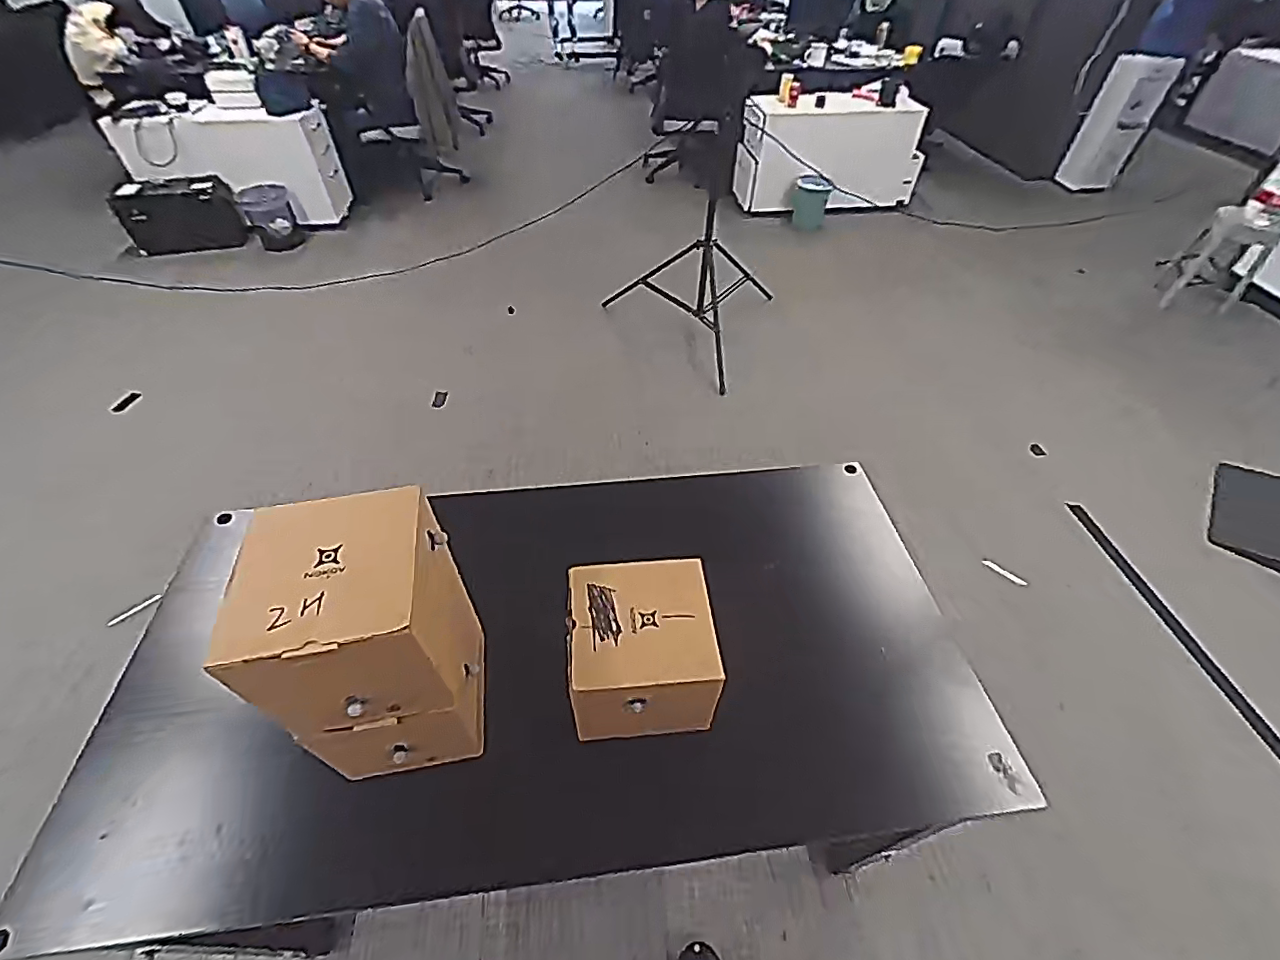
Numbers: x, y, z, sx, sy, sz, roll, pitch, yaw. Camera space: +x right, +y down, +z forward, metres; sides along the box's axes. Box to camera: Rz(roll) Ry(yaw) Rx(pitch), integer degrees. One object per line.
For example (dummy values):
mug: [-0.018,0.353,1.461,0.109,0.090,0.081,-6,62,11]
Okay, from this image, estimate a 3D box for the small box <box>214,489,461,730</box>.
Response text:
small box: [-0.295,0.137,0.576,0.168,0.176,0.179,-9,48,-8]

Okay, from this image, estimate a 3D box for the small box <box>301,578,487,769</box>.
small box: [-0.296,0.252,0.696,0.168,0.176,0.179,-8,48,-8]

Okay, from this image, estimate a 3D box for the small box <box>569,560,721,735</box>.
small box: [0.001,0.226,0.722,0.179,0.176,0.168,-3,47,-4]
